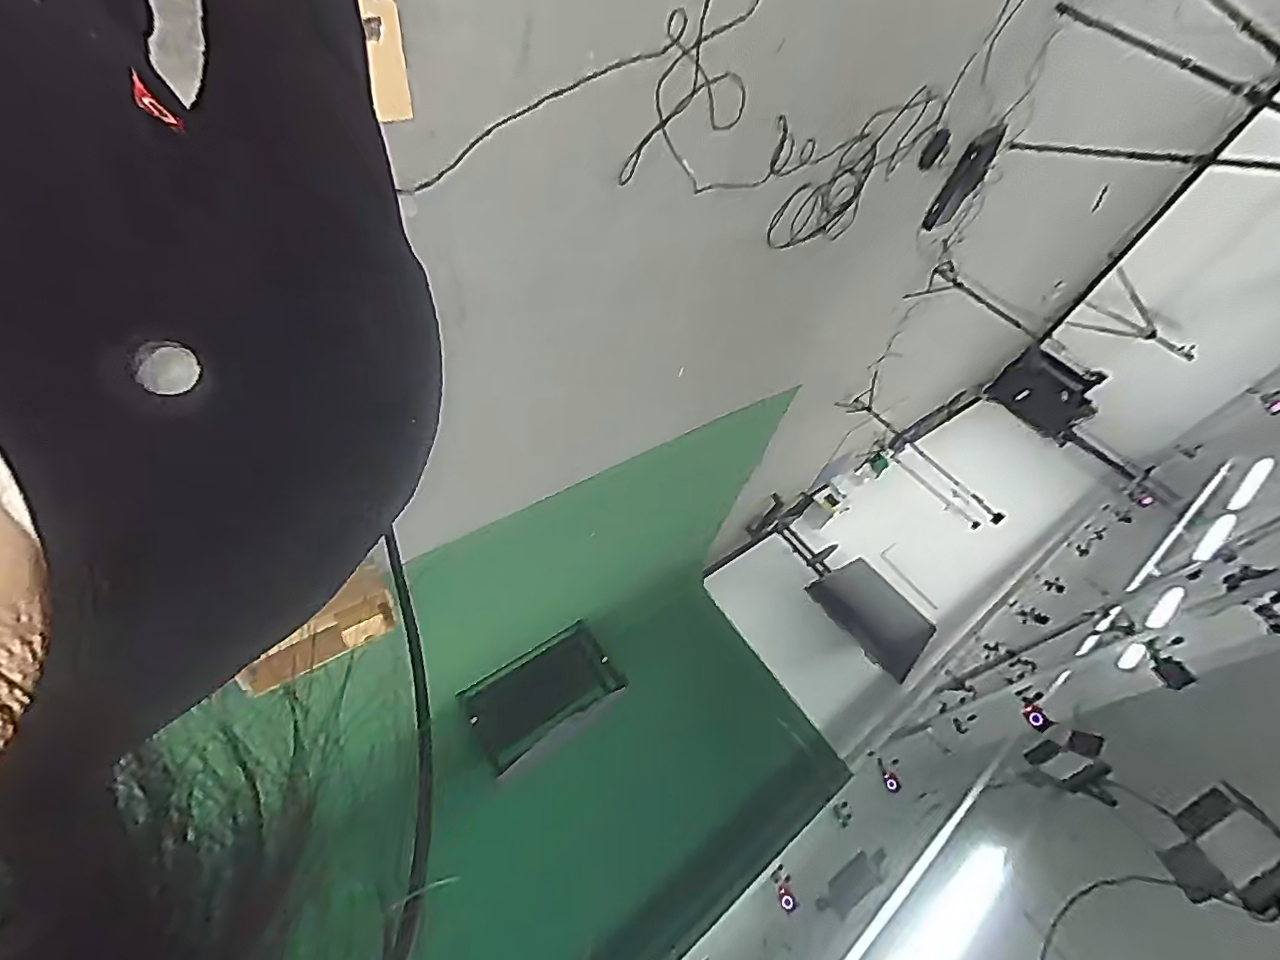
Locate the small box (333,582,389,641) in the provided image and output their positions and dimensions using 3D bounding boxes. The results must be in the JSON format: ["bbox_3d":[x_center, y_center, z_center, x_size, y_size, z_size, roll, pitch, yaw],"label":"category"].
[{"bbox_3d":[-1.263,0.589,2.448,0.168,0.176,0.179,-24,151,-29],"label":"small box"}]

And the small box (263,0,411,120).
[{"bbox_3d":[-0.517,-0.751,0.918,0.168,0.176,0.179,-26,154,-26],"label":"small box"}]
